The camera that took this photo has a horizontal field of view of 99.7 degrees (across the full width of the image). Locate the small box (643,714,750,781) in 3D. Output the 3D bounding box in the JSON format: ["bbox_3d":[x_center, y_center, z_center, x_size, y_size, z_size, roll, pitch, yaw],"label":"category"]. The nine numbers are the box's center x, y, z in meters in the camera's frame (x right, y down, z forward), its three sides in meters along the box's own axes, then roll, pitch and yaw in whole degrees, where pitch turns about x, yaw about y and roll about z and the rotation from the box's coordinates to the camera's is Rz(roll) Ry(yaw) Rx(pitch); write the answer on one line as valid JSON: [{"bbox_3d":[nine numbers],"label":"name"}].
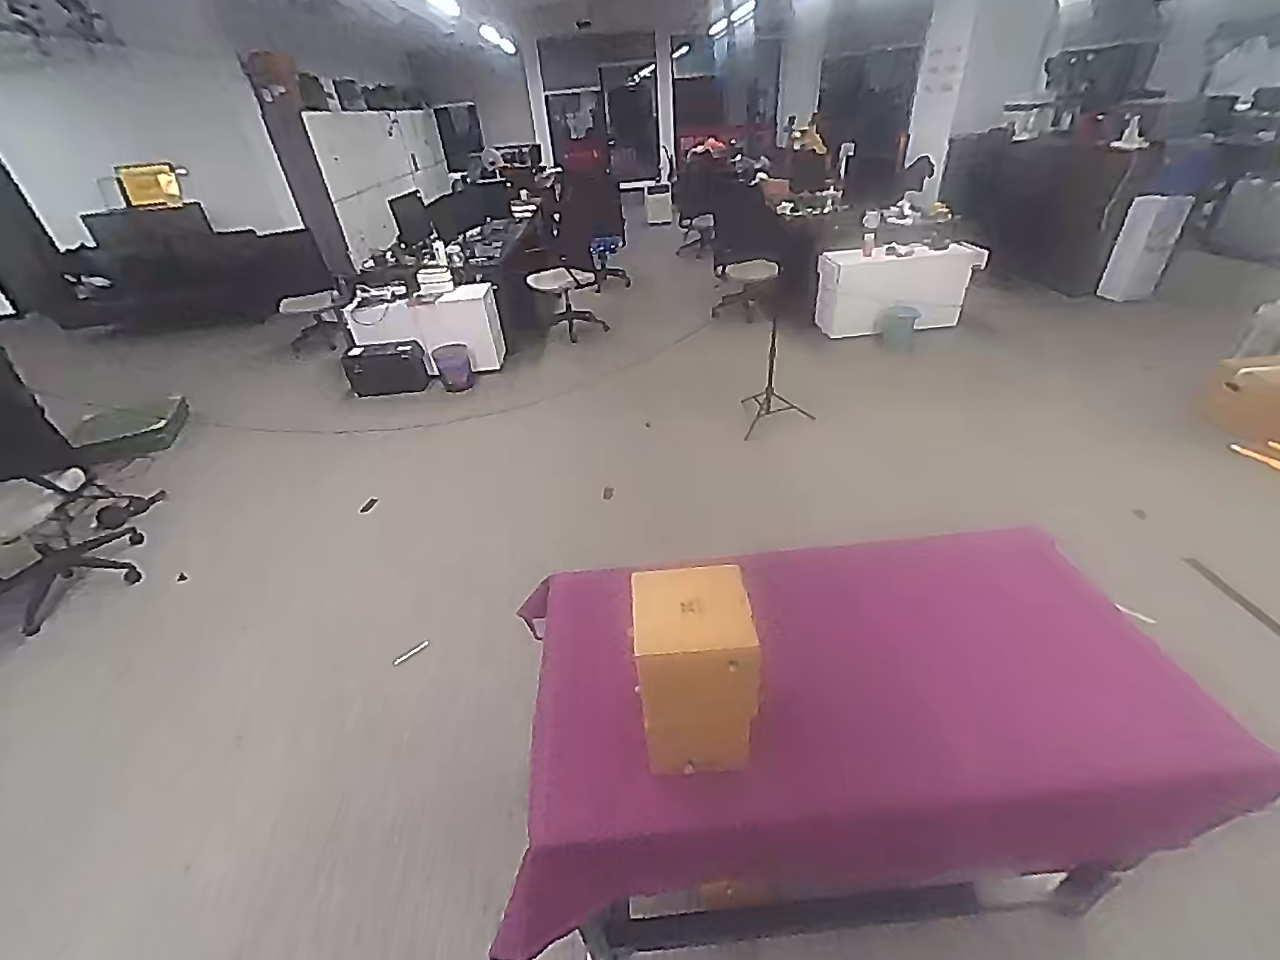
[{"bbox_3d":[0.090,0.388,0.937,0.168,0.176,0.179,-6,35,1],"label":"small box"}]

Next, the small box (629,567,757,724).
[{"bbox_3d":[0.079,0.258,0.840,0.179,0.176,0.168,-5,35,1],"label":"small box"}]
